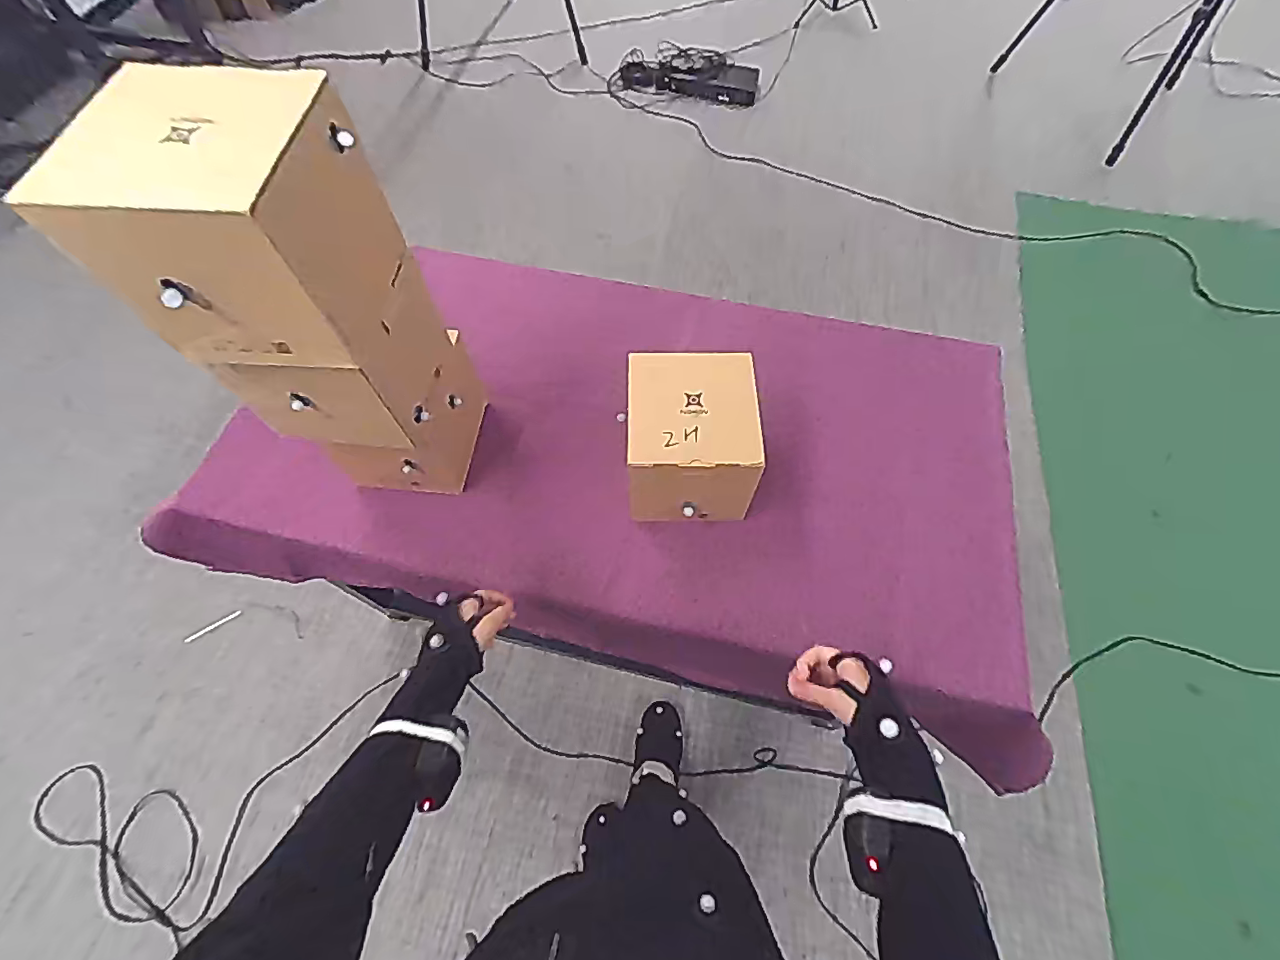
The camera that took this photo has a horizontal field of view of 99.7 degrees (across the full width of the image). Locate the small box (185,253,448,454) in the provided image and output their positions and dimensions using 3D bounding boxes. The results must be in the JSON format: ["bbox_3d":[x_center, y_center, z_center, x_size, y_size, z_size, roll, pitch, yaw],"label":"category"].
[{"bbox_3d":[-0.344,-0.144,0.623,0.179,0.176,0.168,6,62,3],"label":"small box"}]

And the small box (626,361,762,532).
[{"bbox_3d":[0.066,-0.043,0.750,0.168,0.176,0.179,0,61,1],"label":"small box"}]

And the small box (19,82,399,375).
[{"bbox_3d":[-0.337,-0.211,0.474,0.168,0.176,0.179,3,61,1],"label":"small box"}]

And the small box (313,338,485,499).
[{"bbox_3d":[-0.337,-0.088,0.779,0.168,0.176,0.179,6,61,3],"label":"small box"}]
